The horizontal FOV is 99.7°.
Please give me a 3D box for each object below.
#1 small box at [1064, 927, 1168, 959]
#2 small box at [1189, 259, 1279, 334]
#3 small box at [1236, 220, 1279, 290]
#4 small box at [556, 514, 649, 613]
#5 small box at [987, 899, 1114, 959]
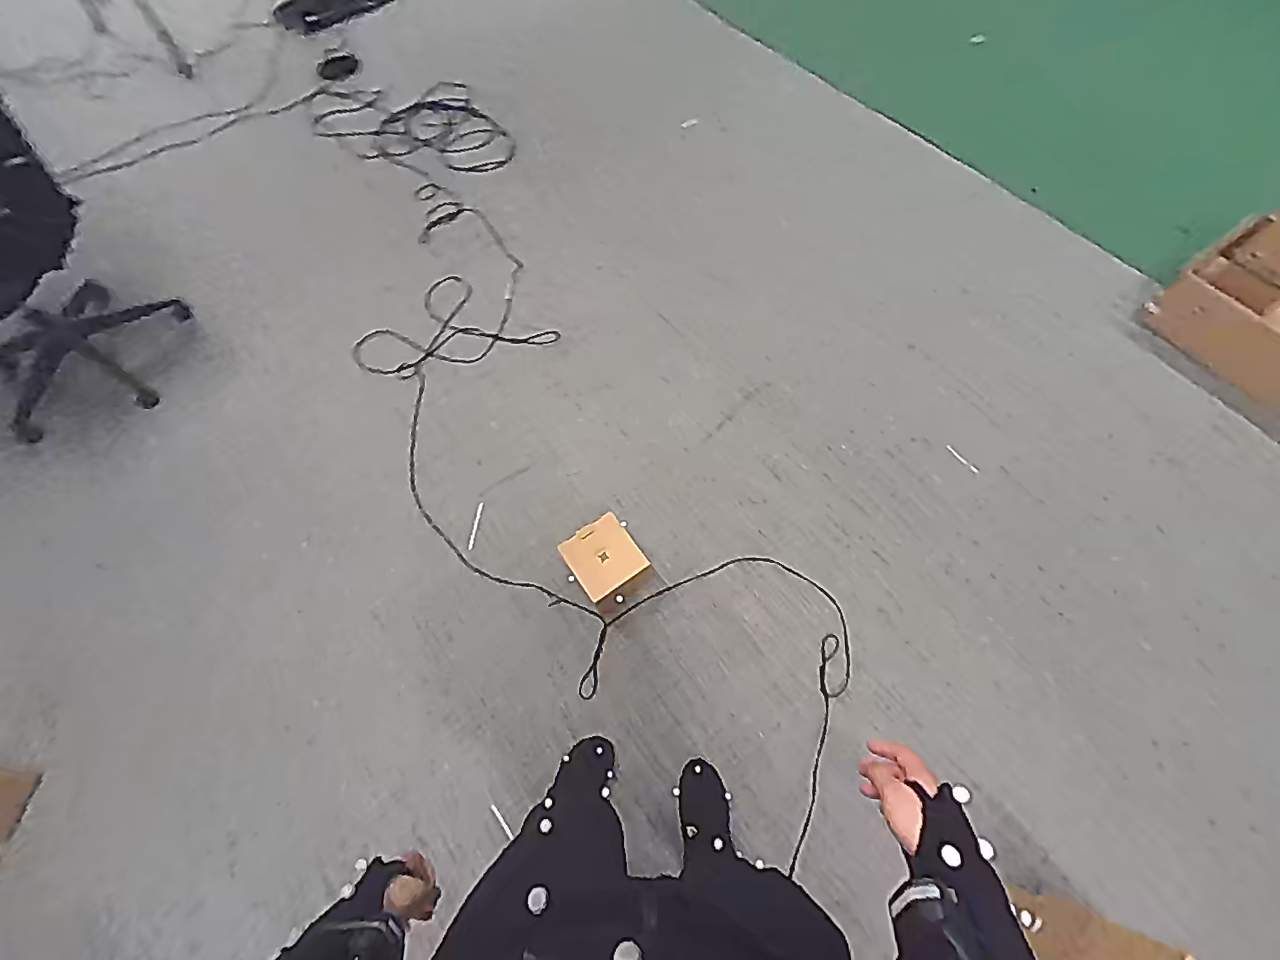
[{"bbox_3d":[0.705,0.766,0.730,0.168,0.176,0.179,-37,69,-14],"label":"small box"},{"bbox_3d":[1.789,-0.567,1.583,0.179,0.176,0.168,-36,68,-12],"label":"small box"},{"bbox_3d":[1.768,-0.633,1.433,0.179,0.176,0.168,-35,69,-13],"label":"small box"},{"bbox_3d":[-0.088,0.222,1.382,0.168,0.176,0.179,-34,67,-12],"label":"small box"},{"bbox_3d":[0.722,0.836,0.877,0.168,0.176,0.179,-37,67,-14],"label":"small box"}]
